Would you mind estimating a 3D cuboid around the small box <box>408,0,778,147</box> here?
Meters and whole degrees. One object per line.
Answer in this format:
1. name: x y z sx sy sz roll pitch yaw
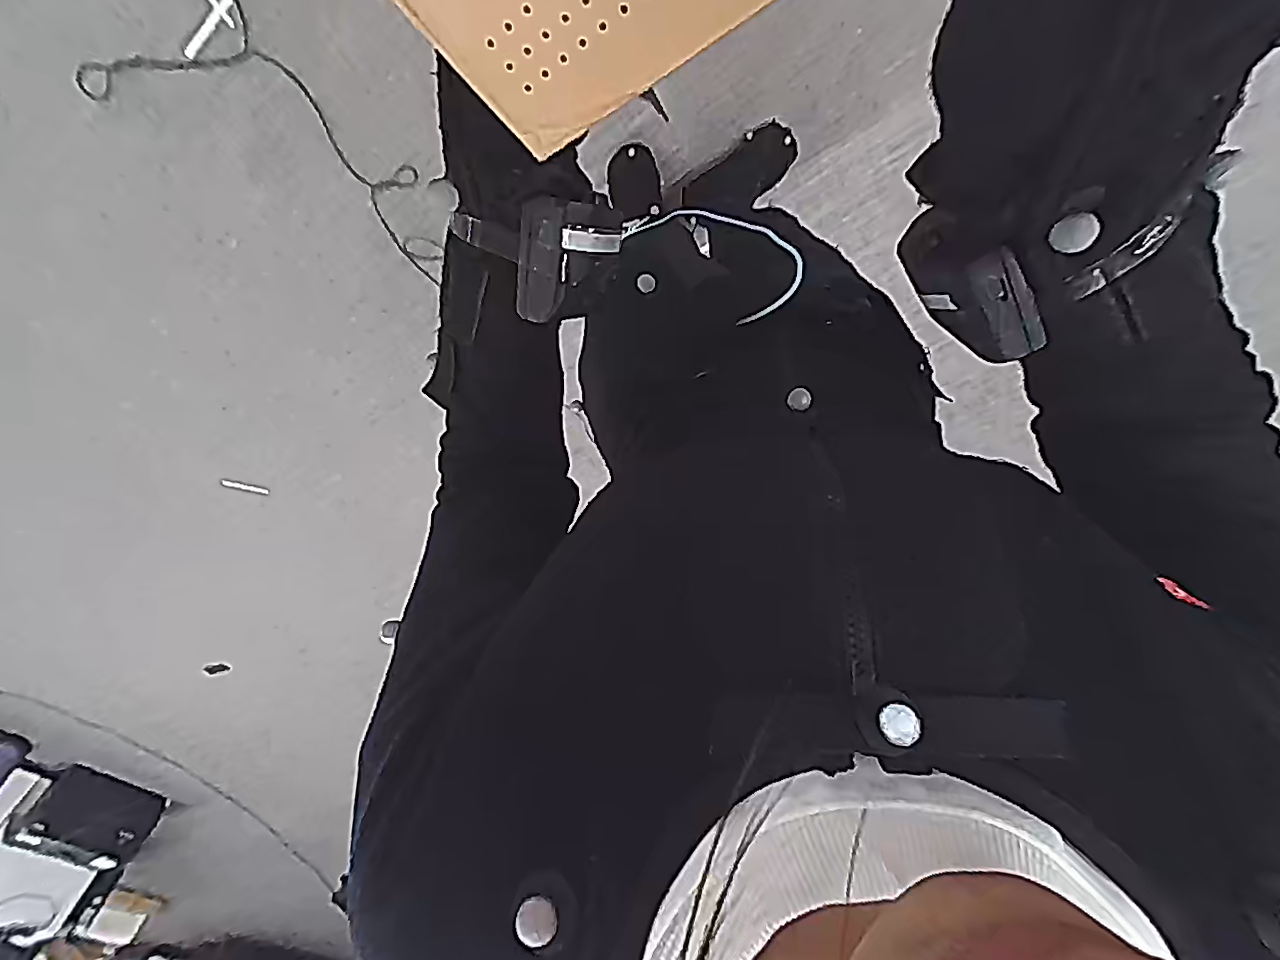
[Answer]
1. small box: -0.005 -0.219 0.108 0.179 0.168 0.176 -12 154 34
